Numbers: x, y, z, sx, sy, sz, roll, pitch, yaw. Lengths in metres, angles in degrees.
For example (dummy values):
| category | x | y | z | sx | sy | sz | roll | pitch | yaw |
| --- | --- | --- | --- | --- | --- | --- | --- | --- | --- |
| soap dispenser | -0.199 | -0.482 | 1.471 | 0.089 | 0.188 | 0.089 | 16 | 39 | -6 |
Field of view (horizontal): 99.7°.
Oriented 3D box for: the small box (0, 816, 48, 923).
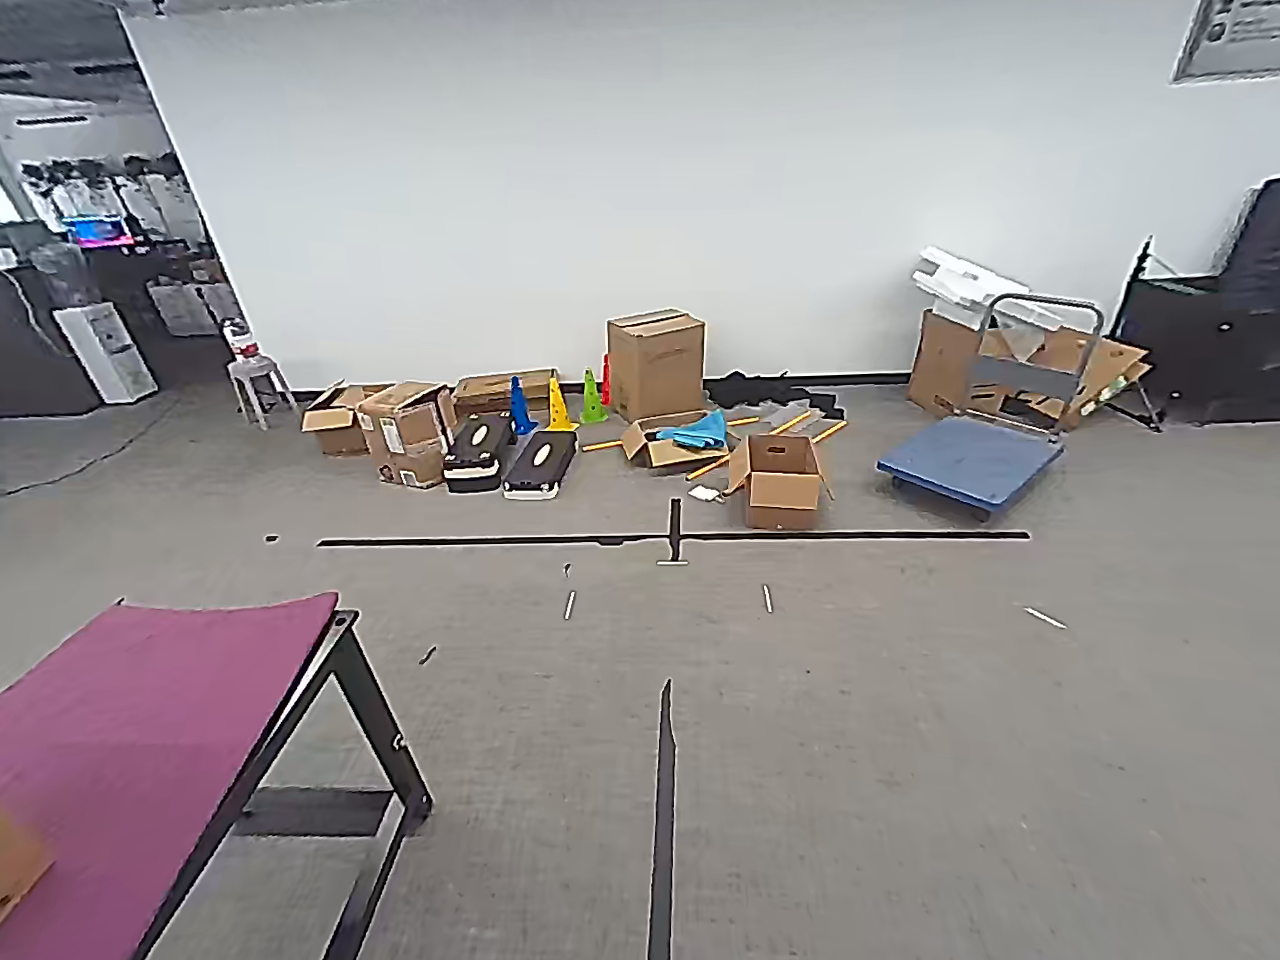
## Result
| category | x | y | z | sx | sy | sz | roll | pitch | yaw |
| --- | --- | --- | --- | --- | --- | --- | --- | --- | --- |
| small box | -0.924 | 0.515 | 0.662 | 0.179 | 0.176 | 0.168 | -2 | 31 | 3 |
